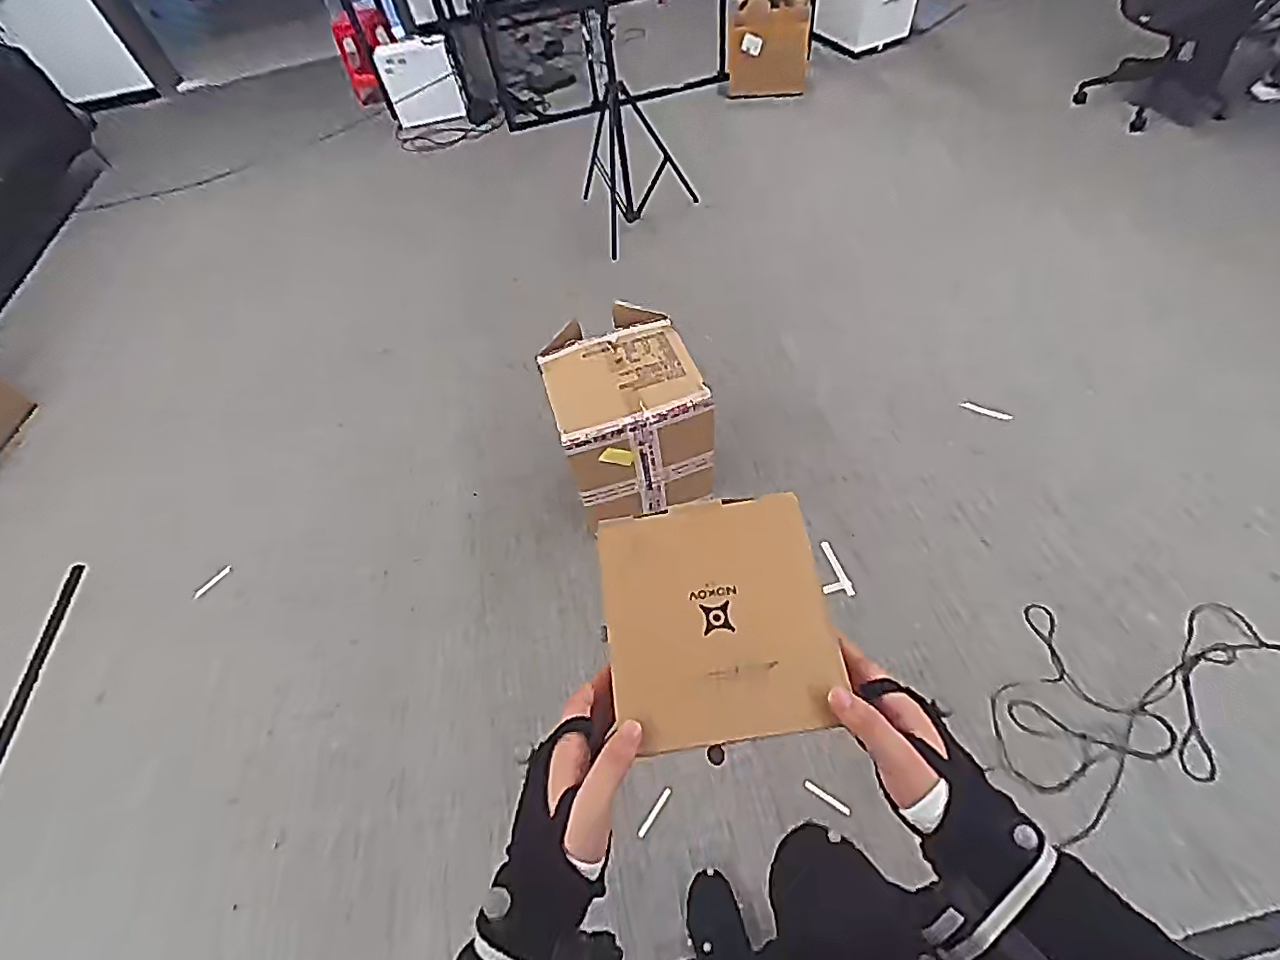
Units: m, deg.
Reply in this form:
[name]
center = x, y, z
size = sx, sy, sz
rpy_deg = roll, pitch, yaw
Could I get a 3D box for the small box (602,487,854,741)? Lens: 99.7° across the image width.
[small box]
center = 0.063, 0.127, 0.481
size = 0.168, 0.176, 0.179
rpy_deg = -9, 64, 1
